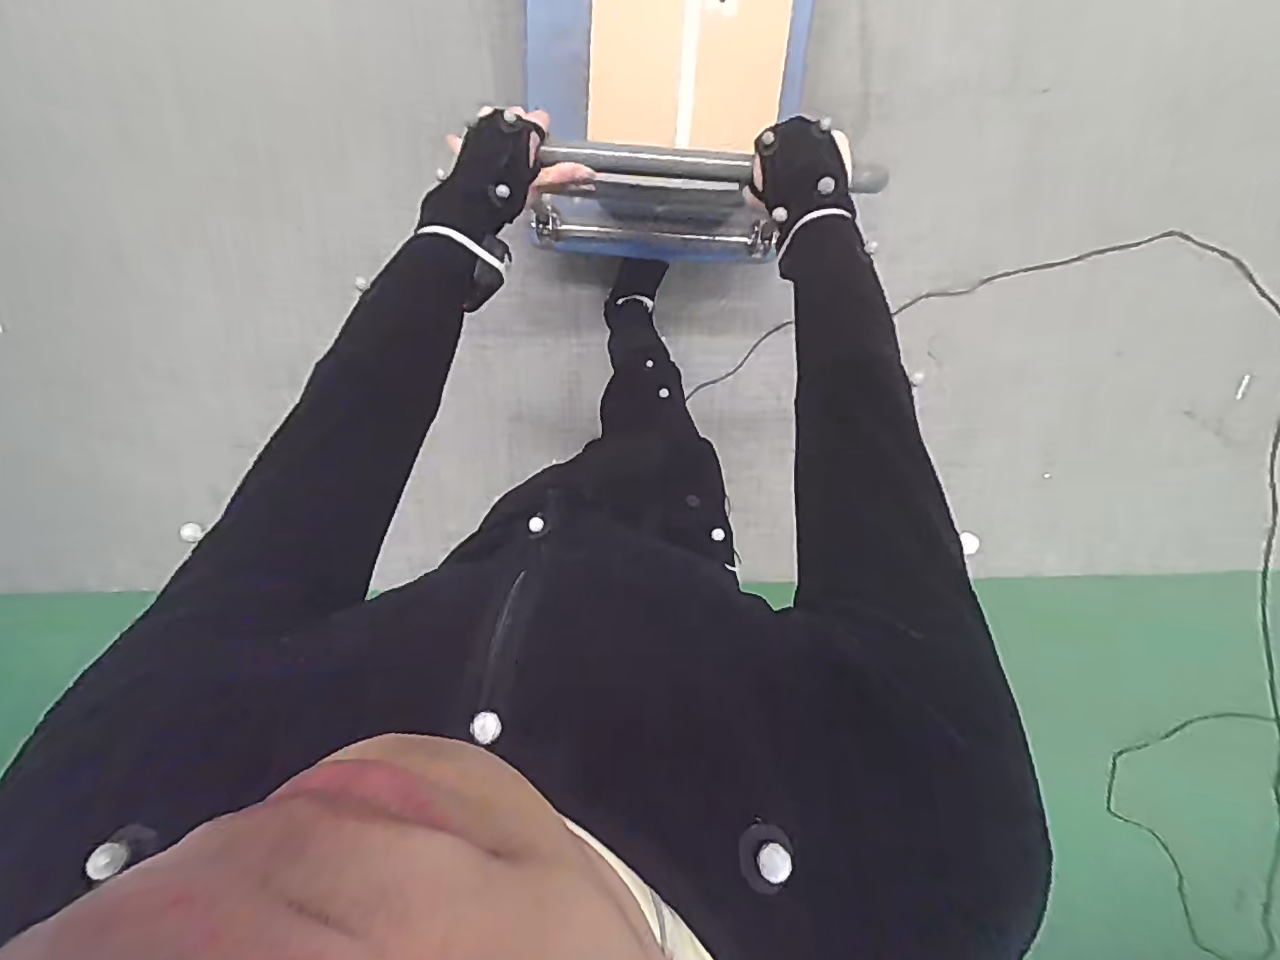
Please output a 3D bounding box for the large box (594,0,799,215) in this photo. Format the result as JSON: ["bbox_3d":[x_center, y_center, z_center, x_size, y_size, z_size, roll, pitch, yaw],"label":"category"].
[{"bbox_3d":[0.089,-0.731,0.991,0.320,0.320,0.408,3,109,-2],"label":"large box"}]
